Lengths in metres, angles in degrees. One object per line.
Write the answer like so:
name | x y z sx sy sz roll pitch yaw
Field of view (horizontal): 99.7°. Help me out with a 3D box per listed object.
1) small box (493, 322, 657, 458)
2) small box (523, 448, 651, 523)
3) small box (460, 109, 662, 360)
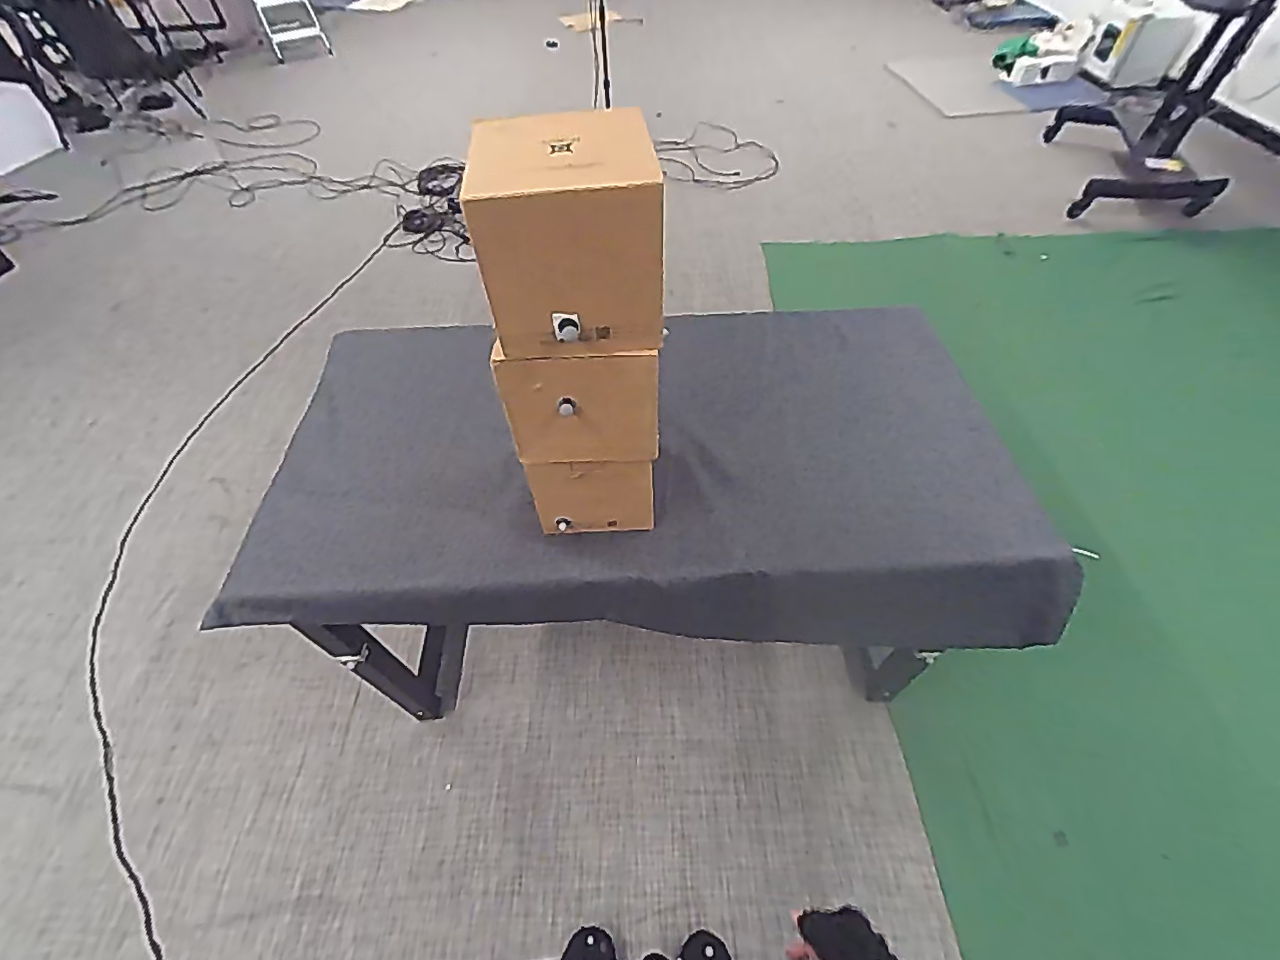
small box | -0.071 -0.142 0.679 0.179 0.176 0.168 -4 50 -2
small box | -0.069 -0.047 0.808 0.168 0.176 0.179 -3 51 0
small box | -0.071 -0.248 0.552 0.168 0.176 0.179 -7 53 -2
